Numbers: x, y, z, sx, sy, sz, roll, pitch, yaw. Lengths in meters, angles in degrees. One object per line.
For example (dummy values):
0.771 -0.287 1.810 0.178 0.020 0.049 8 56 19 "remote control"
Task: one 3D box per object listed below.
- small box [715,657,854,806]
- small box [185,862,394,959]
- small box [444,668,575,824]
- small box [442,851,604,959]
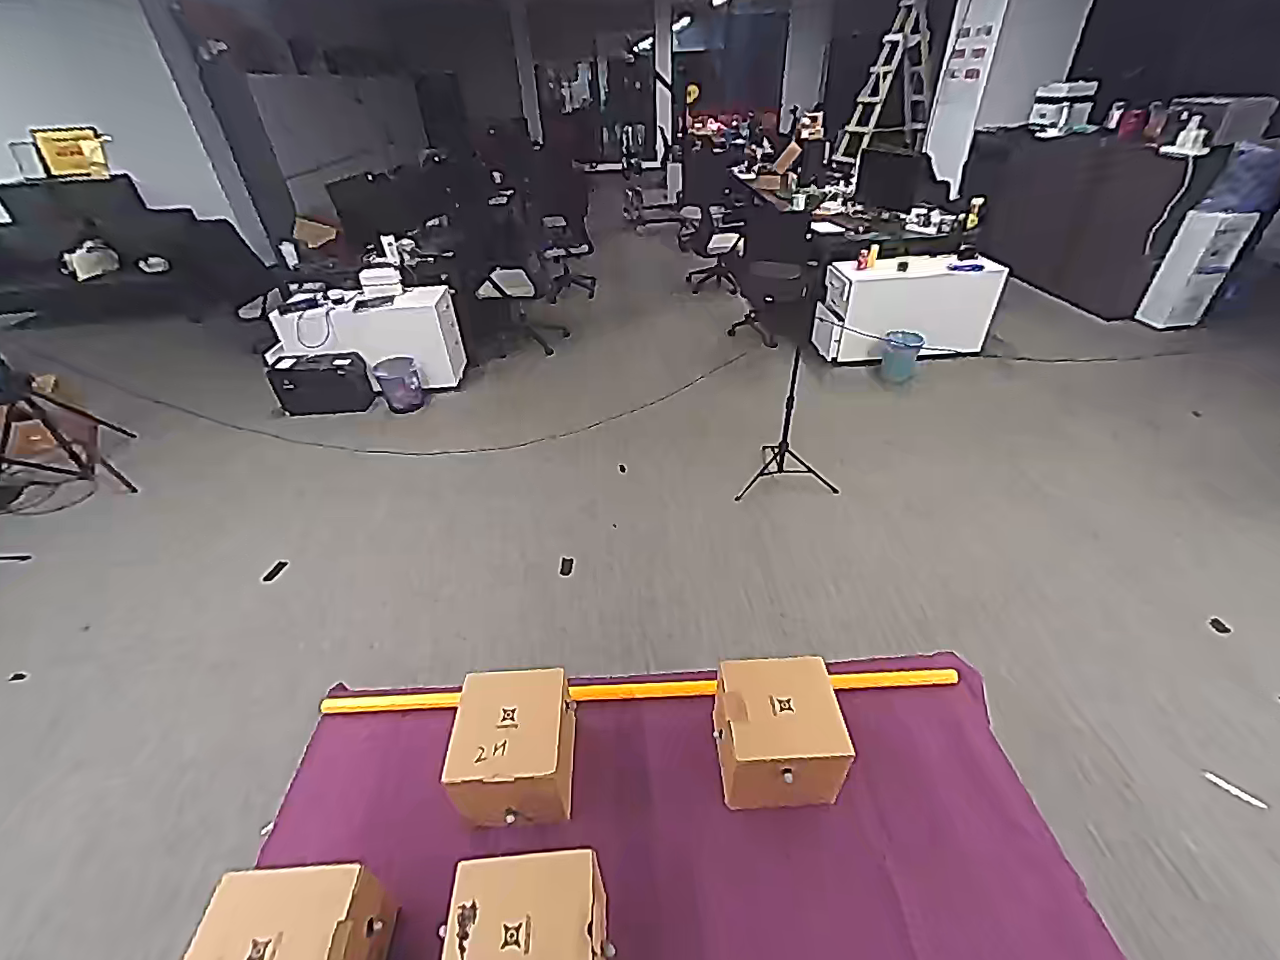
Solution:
0.223 0.412 0.886 0.179 0.176 0.168 -3 38 1 "small box"
-0.431 0.602 0.671 0.179 0.176 0.168 -2 36 -2 "small box"
-0.200 0.433 0.885 0.168 0.176 0.179 -3 38 0 "small box"
-0.136 0.589 0.671 0.179 0.176 0.168 -3 36 -1 "small box"
